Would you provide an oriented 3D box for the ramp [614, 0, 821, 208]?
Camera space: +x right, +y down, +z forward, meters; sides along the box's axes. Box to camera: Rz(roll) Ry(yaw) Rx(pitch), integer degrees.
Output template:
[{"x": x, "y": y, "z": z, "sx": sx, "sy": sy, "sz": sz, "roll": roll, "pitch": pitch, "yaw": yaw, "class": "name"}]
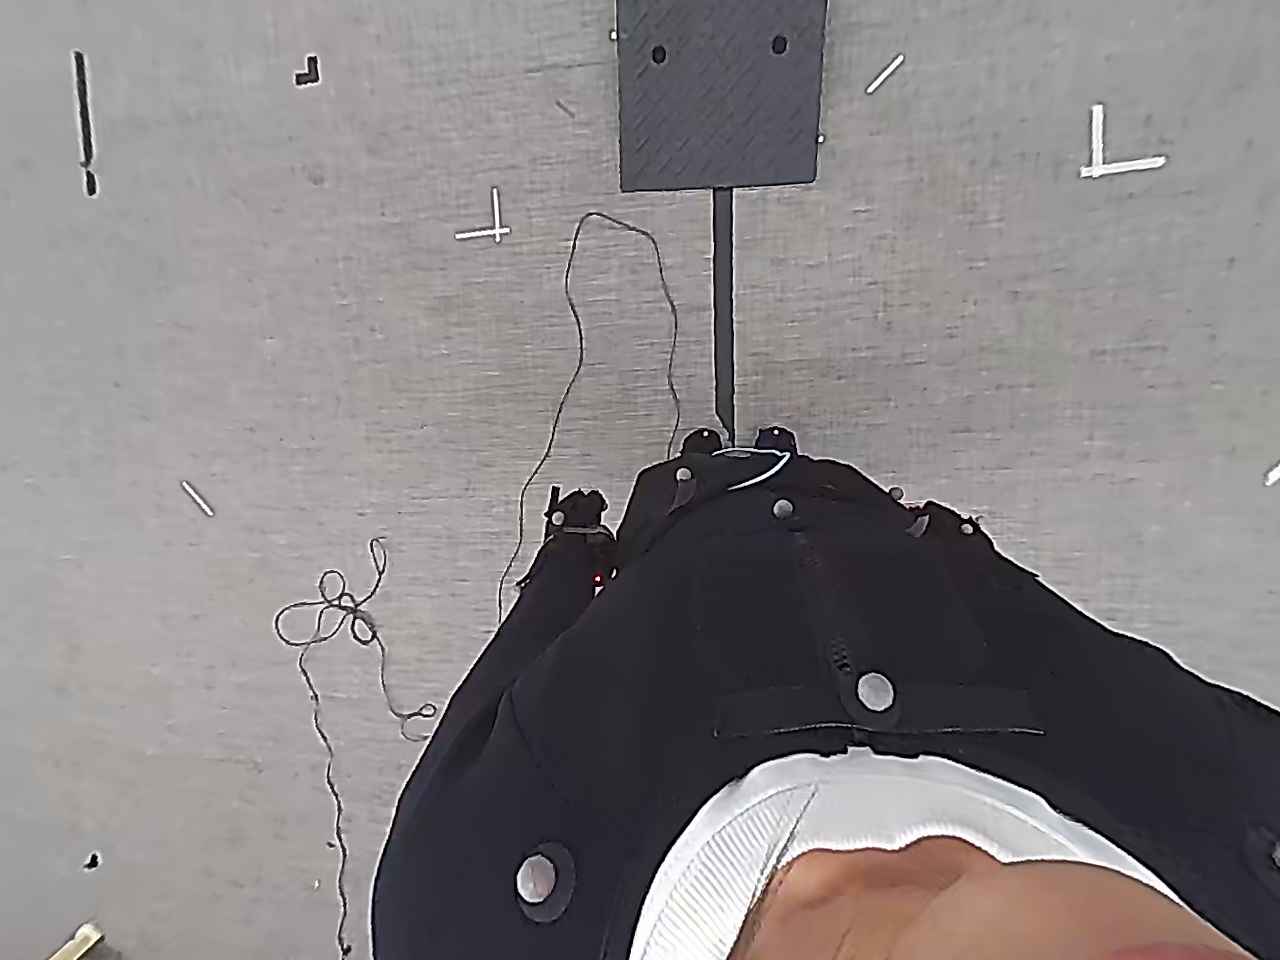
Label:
[{"x": 0.179, "y": -1.206, "z": 1.278, "sx": 0.509, "sy": 0.206, "sz": 0.991, "roll": -2, "pitch": 94, "yaw": 7, "class": "ramp"}]
